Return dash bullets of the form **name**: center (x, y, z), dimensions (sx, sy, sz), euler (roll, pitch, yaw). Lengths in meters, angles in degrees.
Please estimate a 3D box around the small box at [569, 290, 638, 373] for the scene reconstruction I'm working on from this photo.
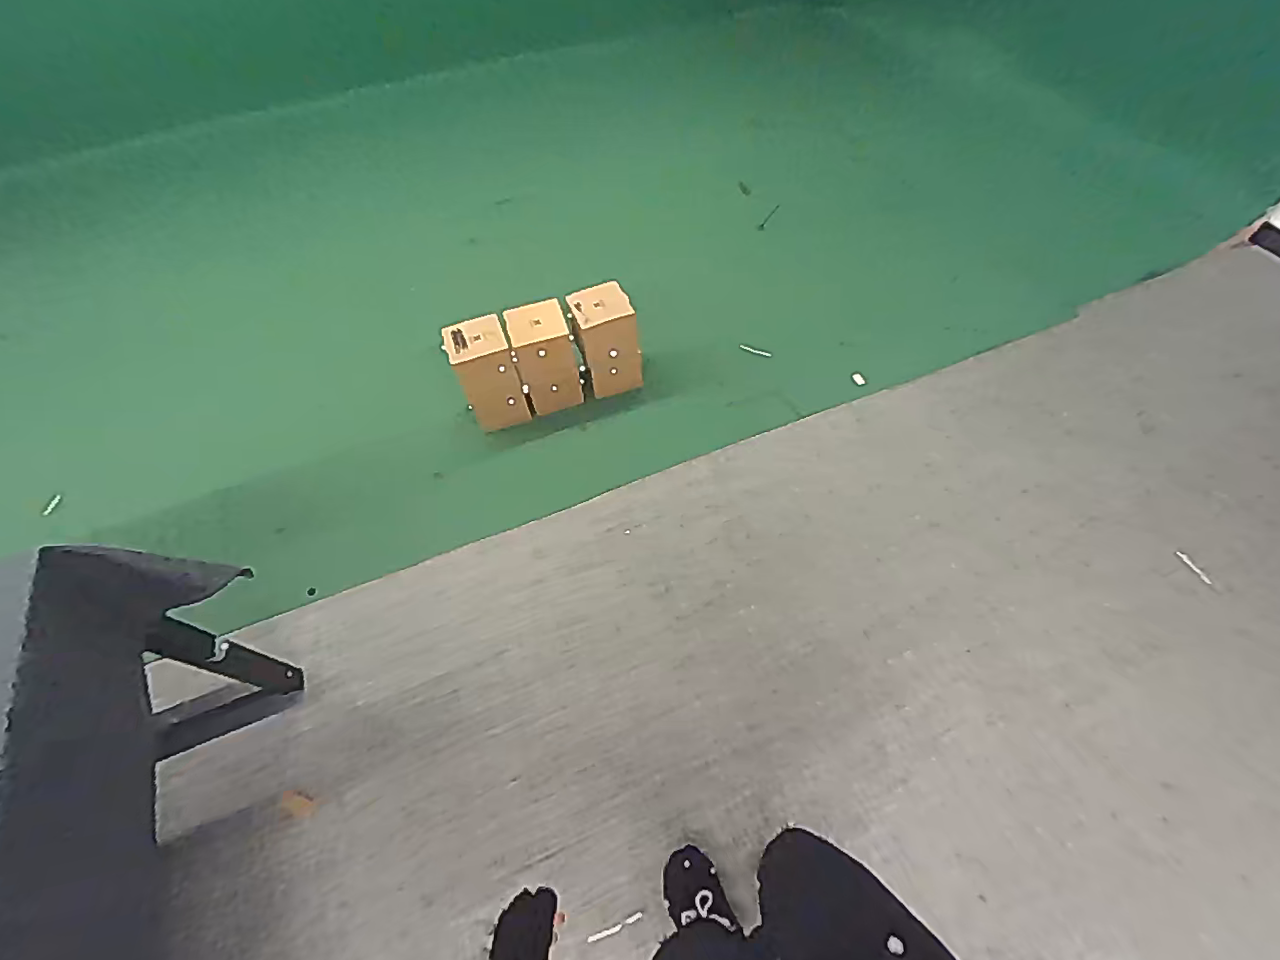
- **small box**: center (-0.115, -0.476, 1.741), dimensions (0.179, 0.176, 0.168), euler (-20, 58, -11)
